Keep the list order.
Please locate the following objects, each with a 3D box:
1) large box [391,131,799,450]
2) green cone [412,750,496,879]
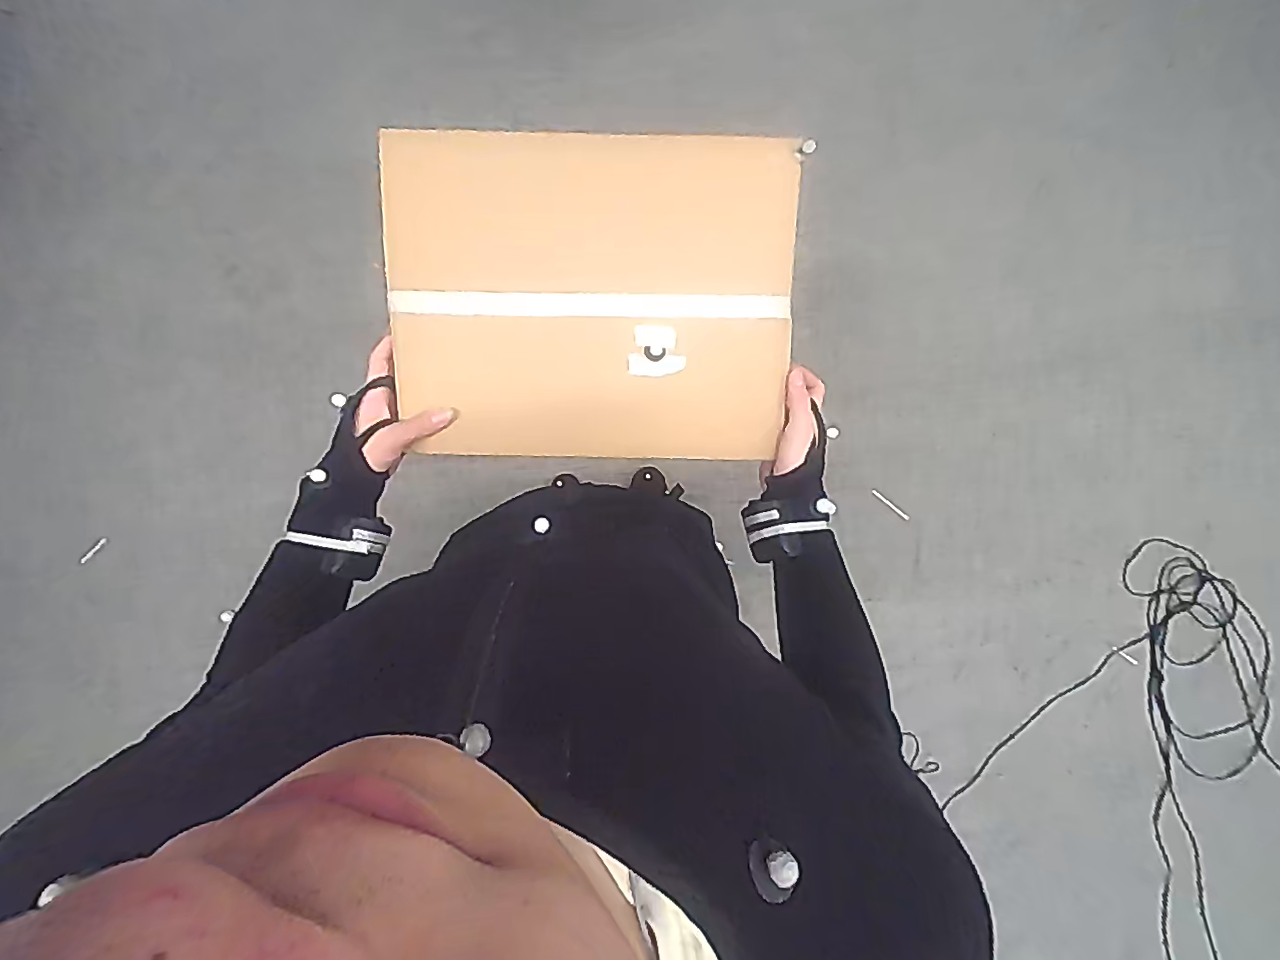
[{"bbox_3d":[-0.047,-0.214,0.698,0.408,0.320,0.320,1,102,-1],"label":"large box"},{"bbox_3d":[-0.535,0.925,1.472,0.200,0.368,0.202,1,92,-1],"label":"green cone"}]
